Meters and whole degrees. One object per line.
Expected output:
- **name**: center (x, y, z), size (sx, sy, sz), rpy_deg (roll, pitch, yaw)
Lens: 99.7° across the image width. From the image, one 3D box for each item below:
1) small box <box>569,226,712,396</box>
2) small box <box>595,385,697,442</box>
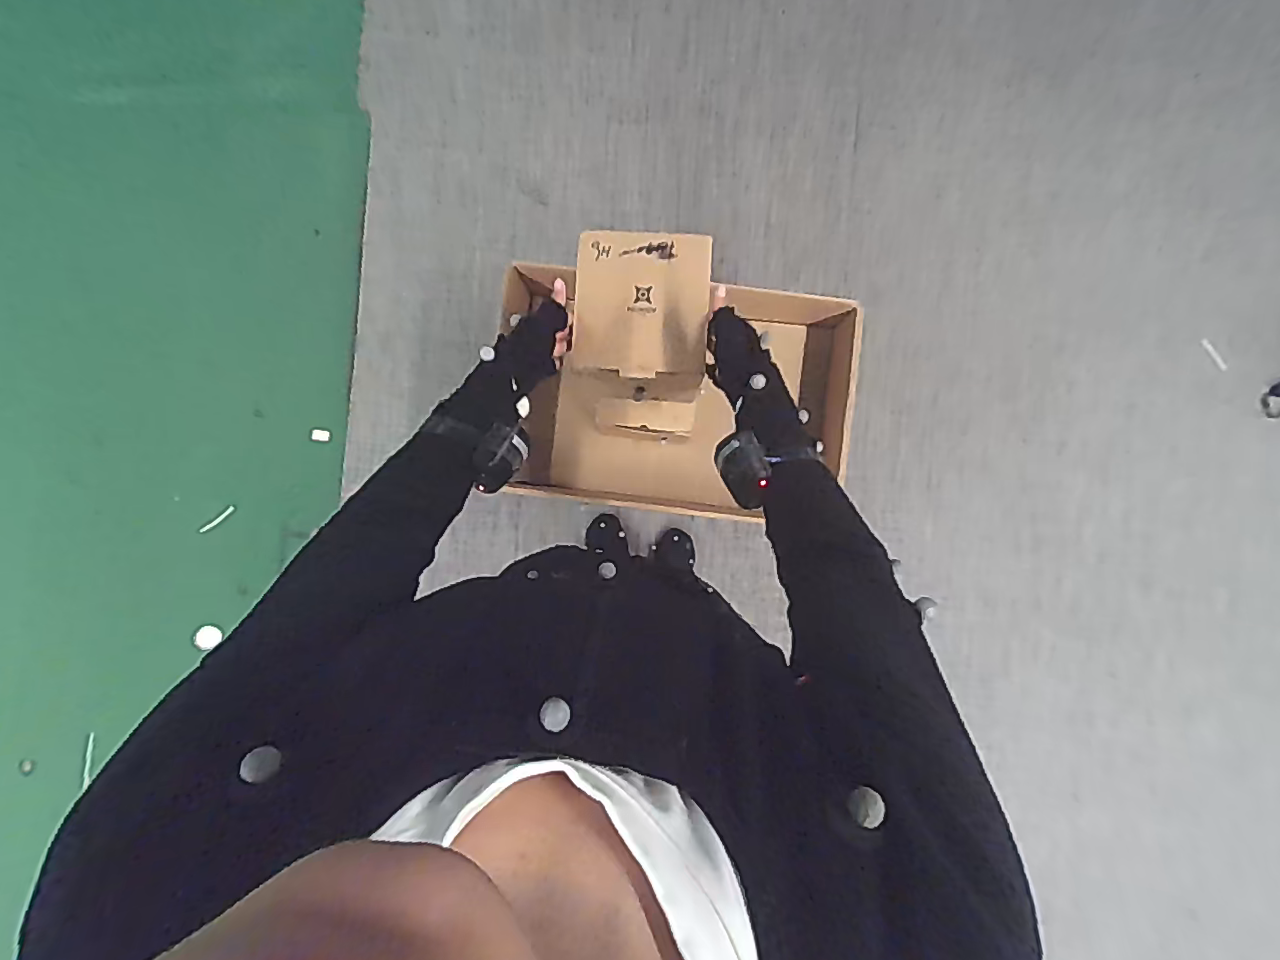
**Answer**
- **small box**: center (0.004, -0.215, 0.731), size (0.168, 0.176, 0.179), rpy_deg (4, 88, 2)
- **small box**: center (0.015, -0.168, 0.976), size (0.168, 0.176, 0.179), rpy_deg (7, 88, -1)
